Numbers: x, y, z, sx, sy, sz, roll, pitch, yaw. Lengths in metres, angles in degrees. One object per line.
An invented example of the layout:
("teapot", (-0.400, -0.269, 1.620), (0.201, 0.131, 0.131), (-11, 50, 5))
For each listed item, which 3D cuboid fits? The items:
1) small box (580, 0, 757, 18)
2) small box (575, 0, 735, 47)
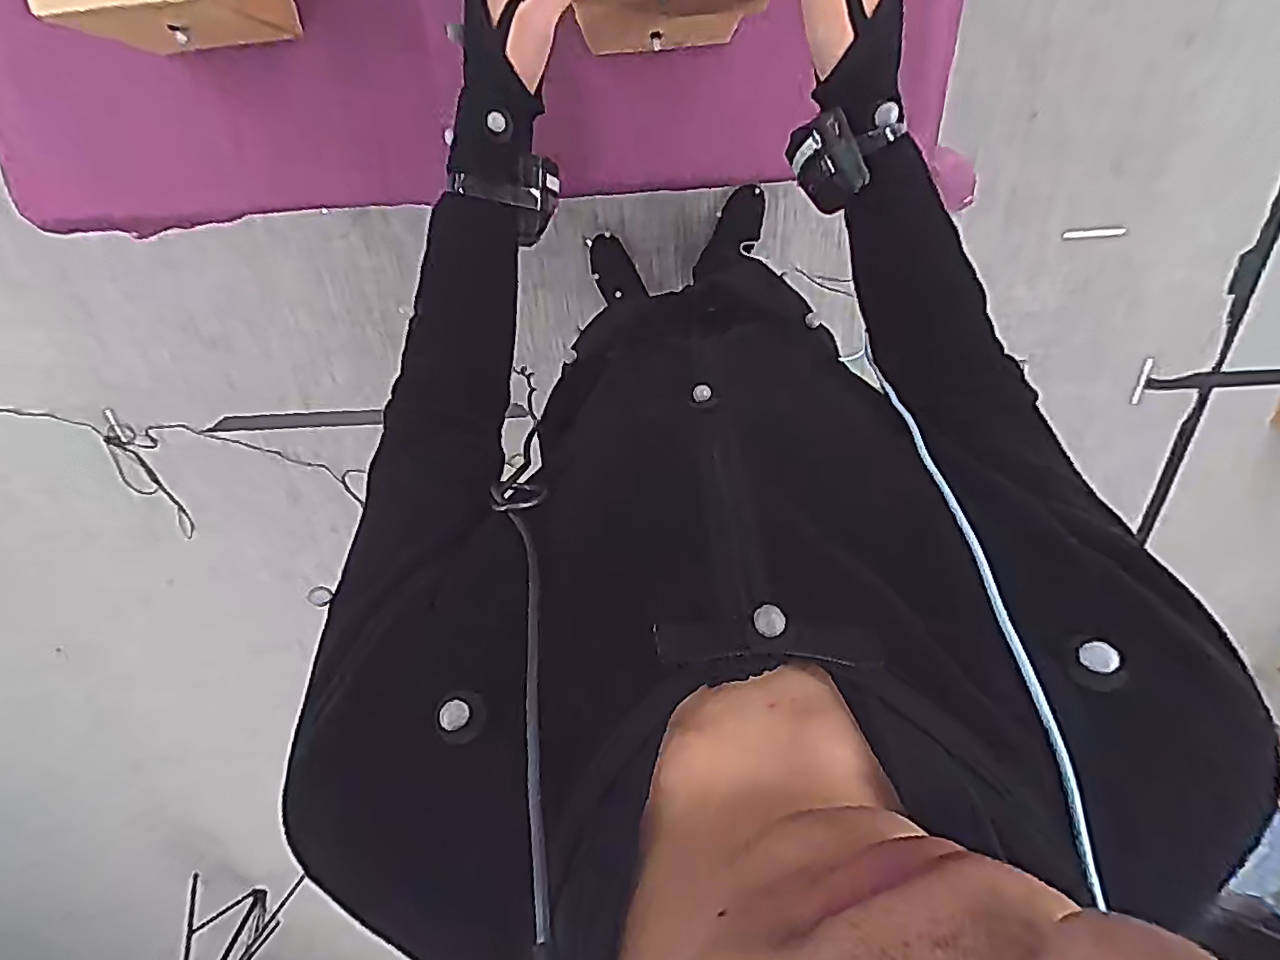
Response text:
("small box", (0.026, -0.470, 0.402), (0.179, 0.176, 0.168), (-2, 119, 1))
("small box", (0.018, -0.558, 0.541), (0.168, 0.176, 0.179), (-3, 119, 2))
